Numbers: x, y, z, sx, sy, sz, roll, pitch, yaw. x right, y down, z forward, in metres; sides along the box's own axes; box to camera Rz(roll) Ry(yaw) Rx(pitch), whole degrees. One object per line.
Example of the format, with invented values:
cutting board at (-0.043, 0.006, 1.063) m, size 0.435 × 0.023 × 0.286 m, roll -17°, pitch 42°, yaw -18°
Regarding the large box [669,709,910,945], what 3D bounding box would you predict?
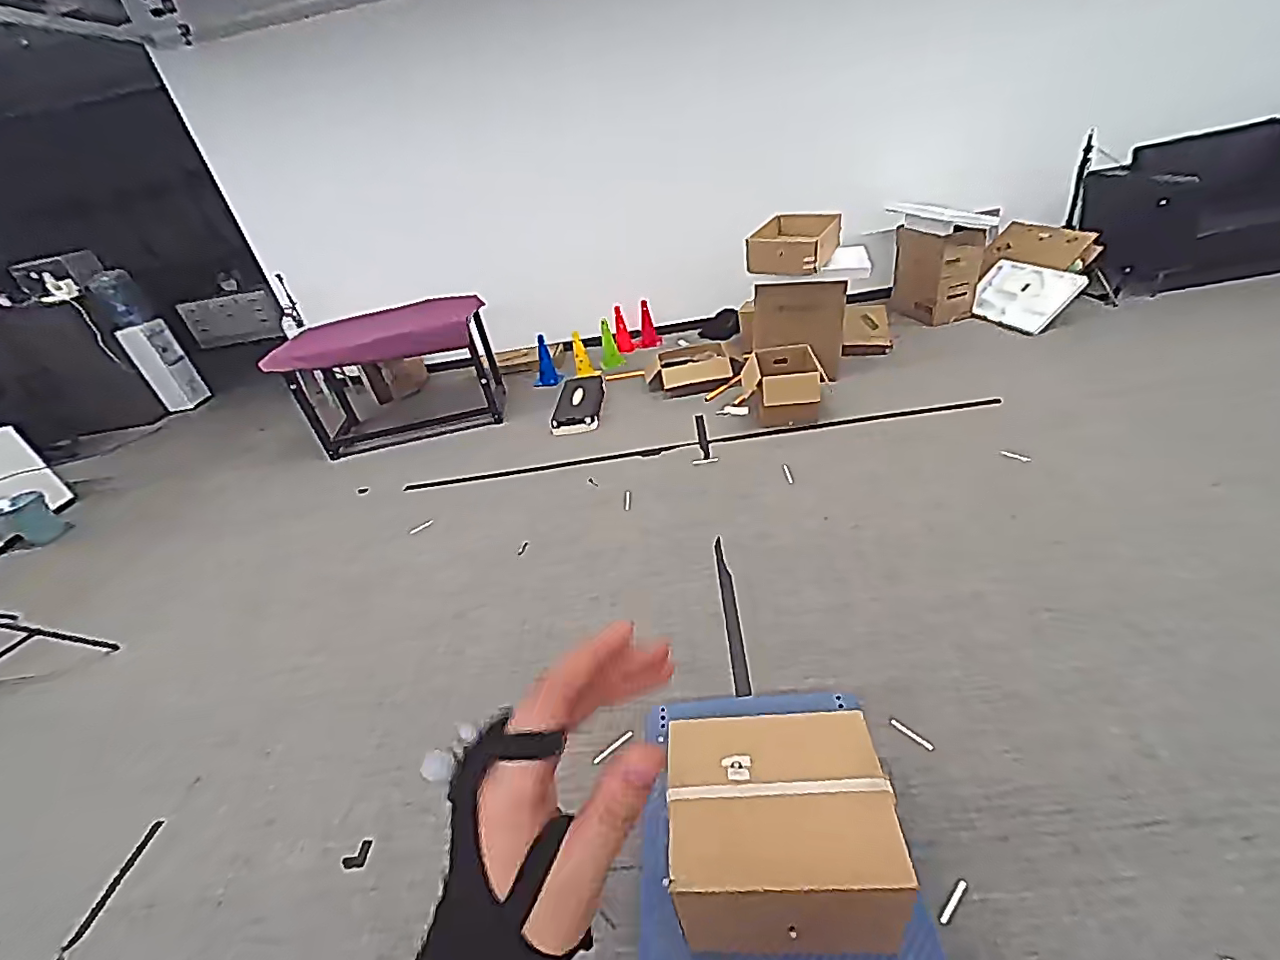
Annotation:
large box at (0.282, 0.714, 1.114) m, size 0.408 × 0.320 × 0.320 m, roll -8°, pitch 33°, yaw 7°
